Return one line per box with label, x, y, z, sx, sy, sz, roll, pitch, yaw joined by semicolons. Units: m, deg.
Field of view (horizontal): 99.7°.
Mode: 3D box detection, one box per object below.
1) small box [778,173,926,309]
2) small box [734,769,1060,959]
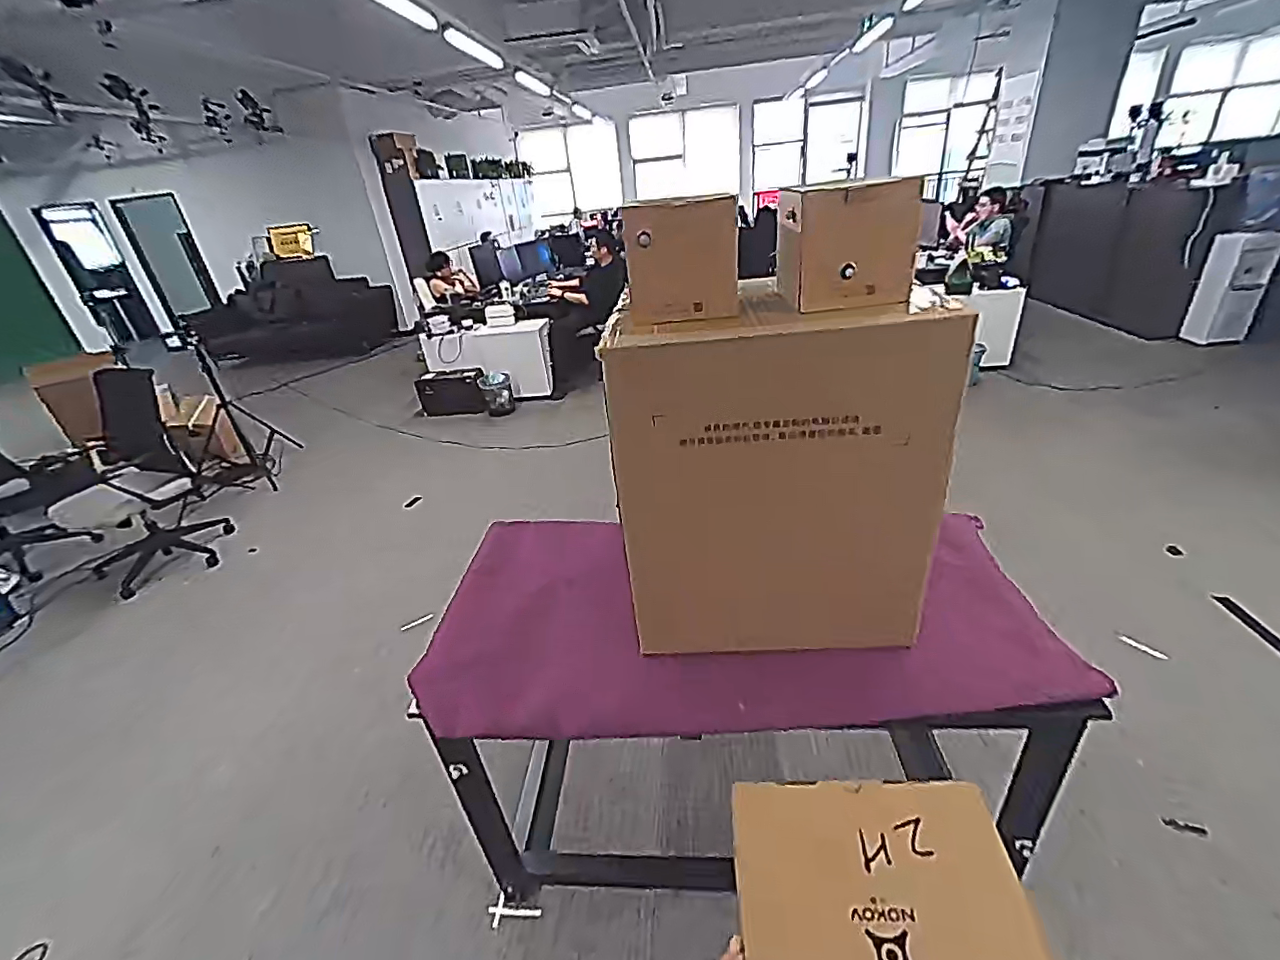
small box;0.313;-0.371;0.841;0.168;0.176;0.179;-5;30;4
small box;0.153;0.318;0.351;0.168;0.176;0.179;-4;33;7
